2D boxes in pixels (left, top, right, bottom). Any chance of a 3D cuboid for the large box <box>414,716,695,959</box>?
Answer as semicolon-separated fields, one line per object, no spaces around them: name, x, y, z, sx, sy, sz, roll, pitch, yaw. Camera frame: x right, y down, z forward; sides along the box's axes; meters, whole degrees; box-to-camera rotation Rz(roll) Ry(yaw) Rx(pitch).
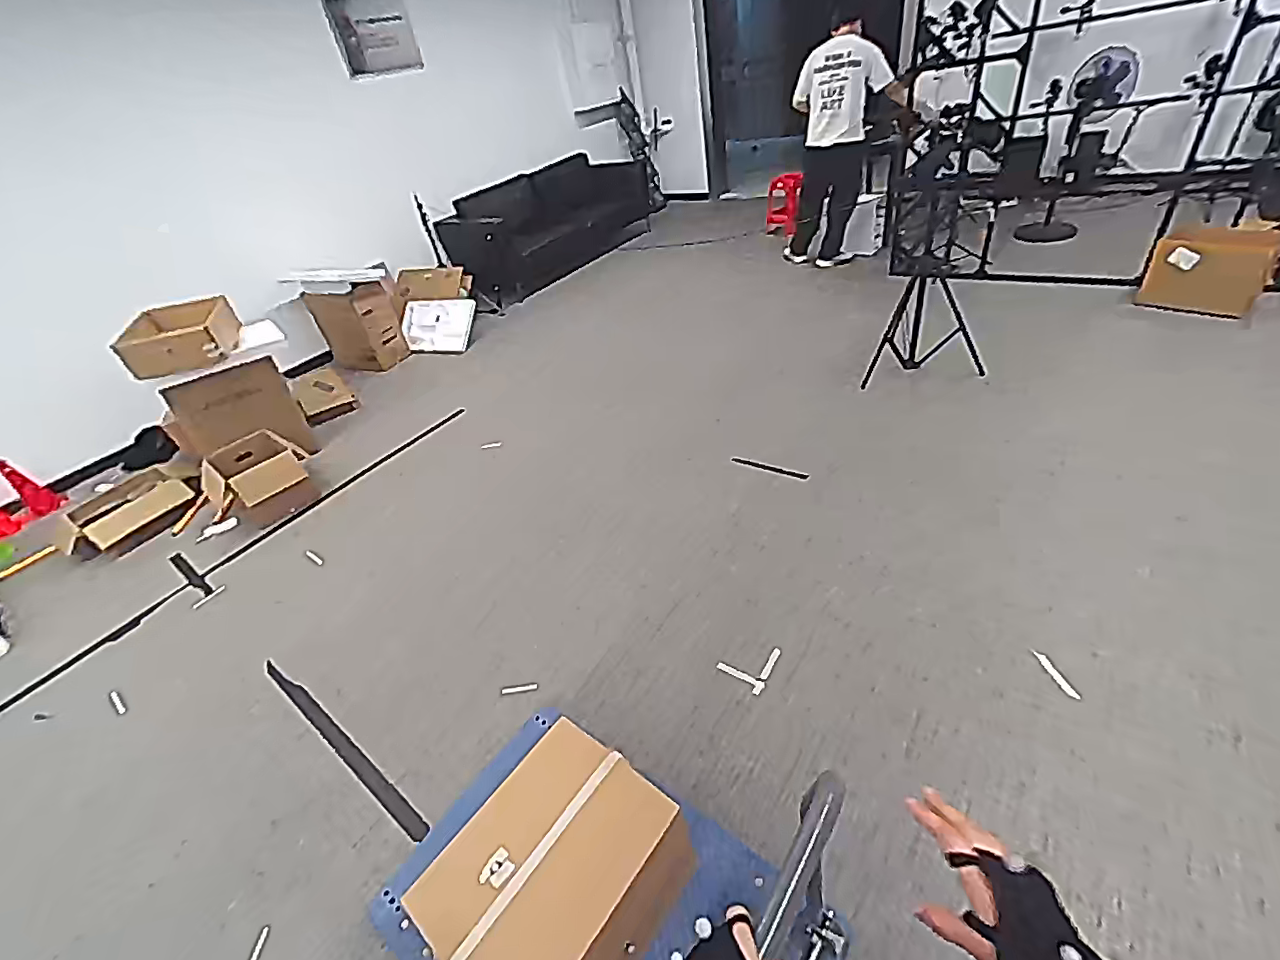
large box;-0.135;0.770;1.054;0.320;0.320;0.408;20;48;35
